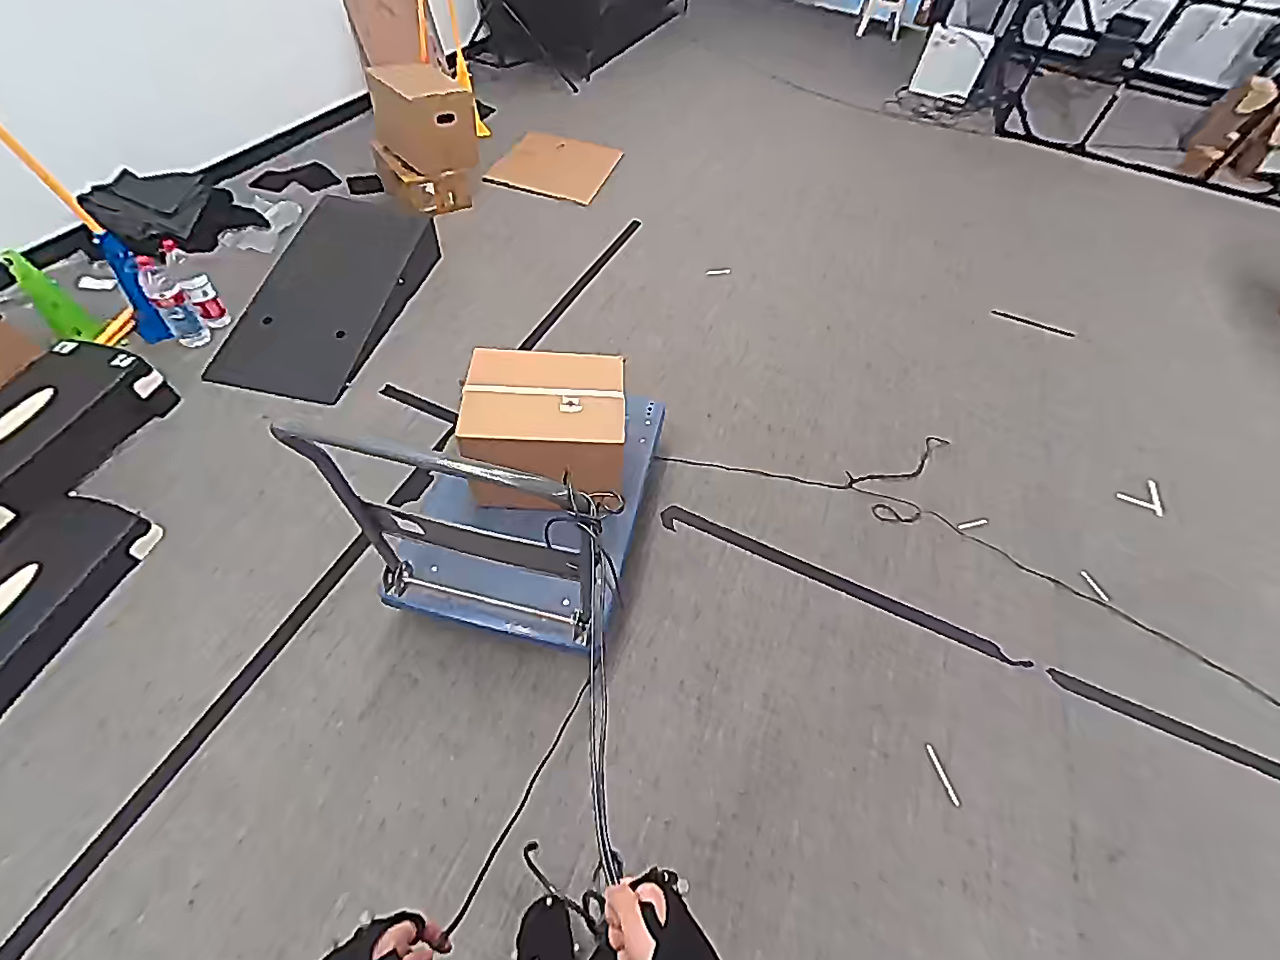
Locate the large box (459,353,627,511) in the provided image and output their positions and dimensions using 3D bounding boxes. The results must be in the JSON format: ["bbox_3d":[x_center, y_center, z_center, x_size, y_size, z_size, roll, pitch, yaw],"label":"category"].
[{"bbox_3d":[-0.252,-0.123,1.493,0.408,0.320,0.320,2,54,-6],"label":"large box"}]
